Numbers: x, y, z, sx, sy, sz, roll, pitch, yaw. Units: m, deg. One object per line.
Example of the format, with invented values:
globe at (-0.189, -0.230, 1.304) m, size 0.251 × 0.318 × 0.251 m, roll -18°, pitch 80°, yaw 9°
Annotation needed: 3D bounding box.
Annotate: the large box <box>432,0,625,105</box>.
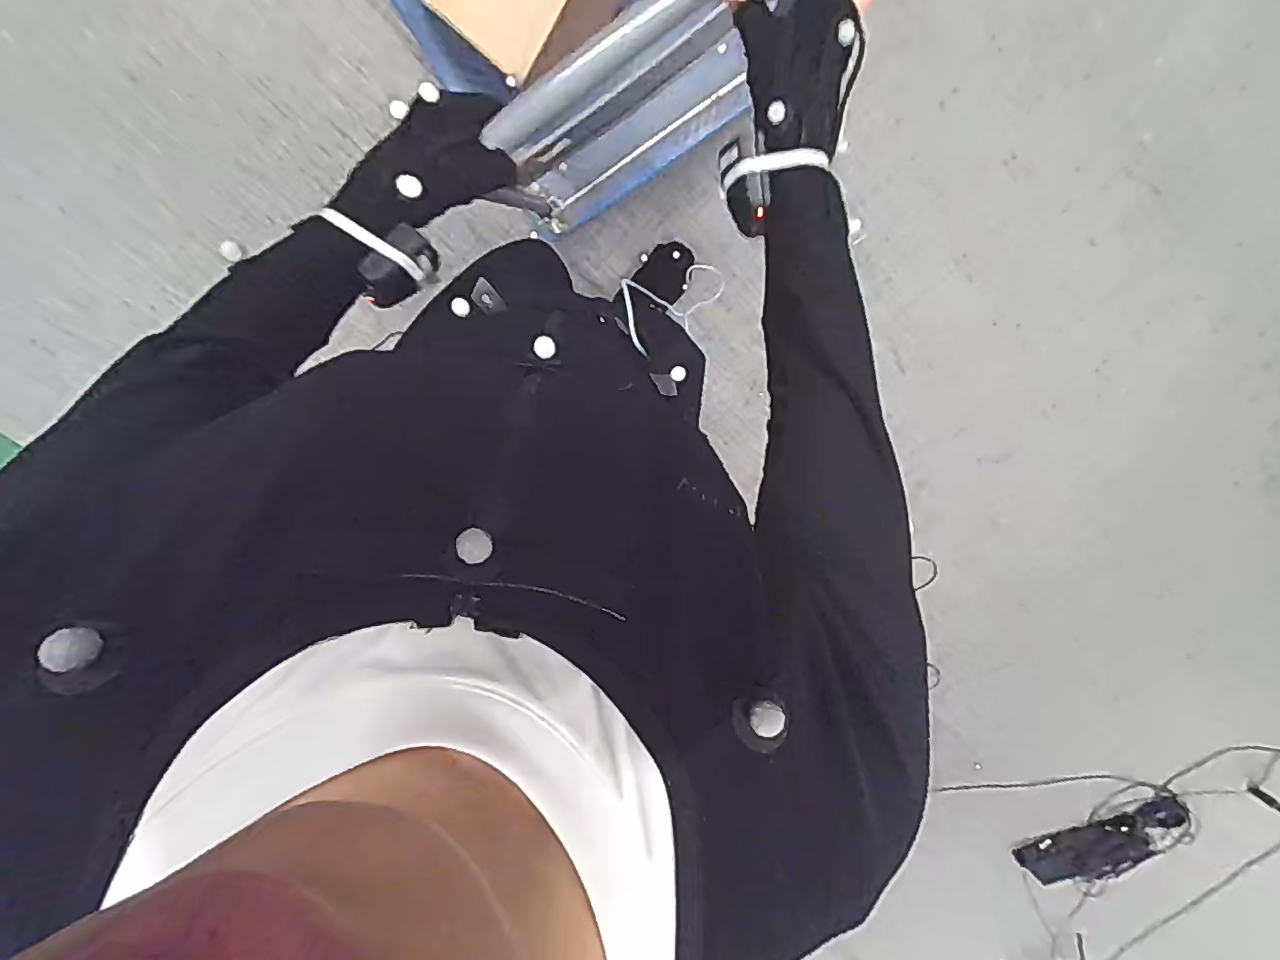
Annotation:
large box at (-0.147, -0.852, 0.776) m, size 0.320 × 0.320 × 0.408 m, roll 35°, pitch 115°, yaw -15°
